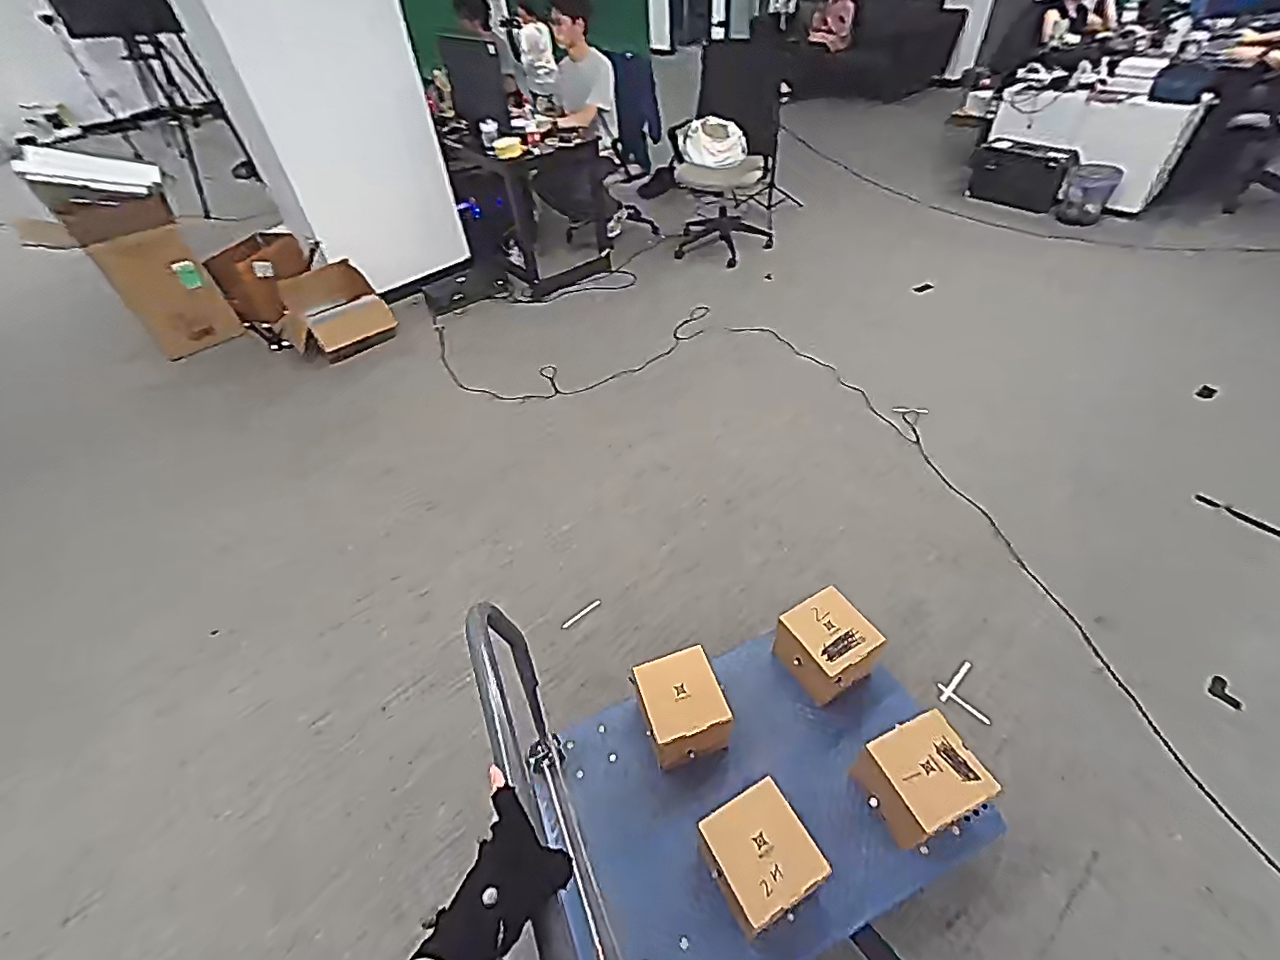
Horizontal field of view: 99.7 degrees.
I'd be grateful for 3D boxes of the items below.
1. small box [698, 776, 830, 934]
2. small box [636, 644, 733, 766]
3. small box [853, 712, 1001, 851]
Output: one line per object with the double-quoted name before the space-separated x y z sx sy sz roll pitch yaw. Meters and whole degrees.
"small box" 0.219 0.701 1.010 0.168 0.176 0.179 -23 48 -16
"small box" 0.094 0.505 1.212 0.168 0.176 0.179 -15 48 -10
"small box" 0.557 0.601 1.076 0.179 0.176 0.168 -19 47 -12
